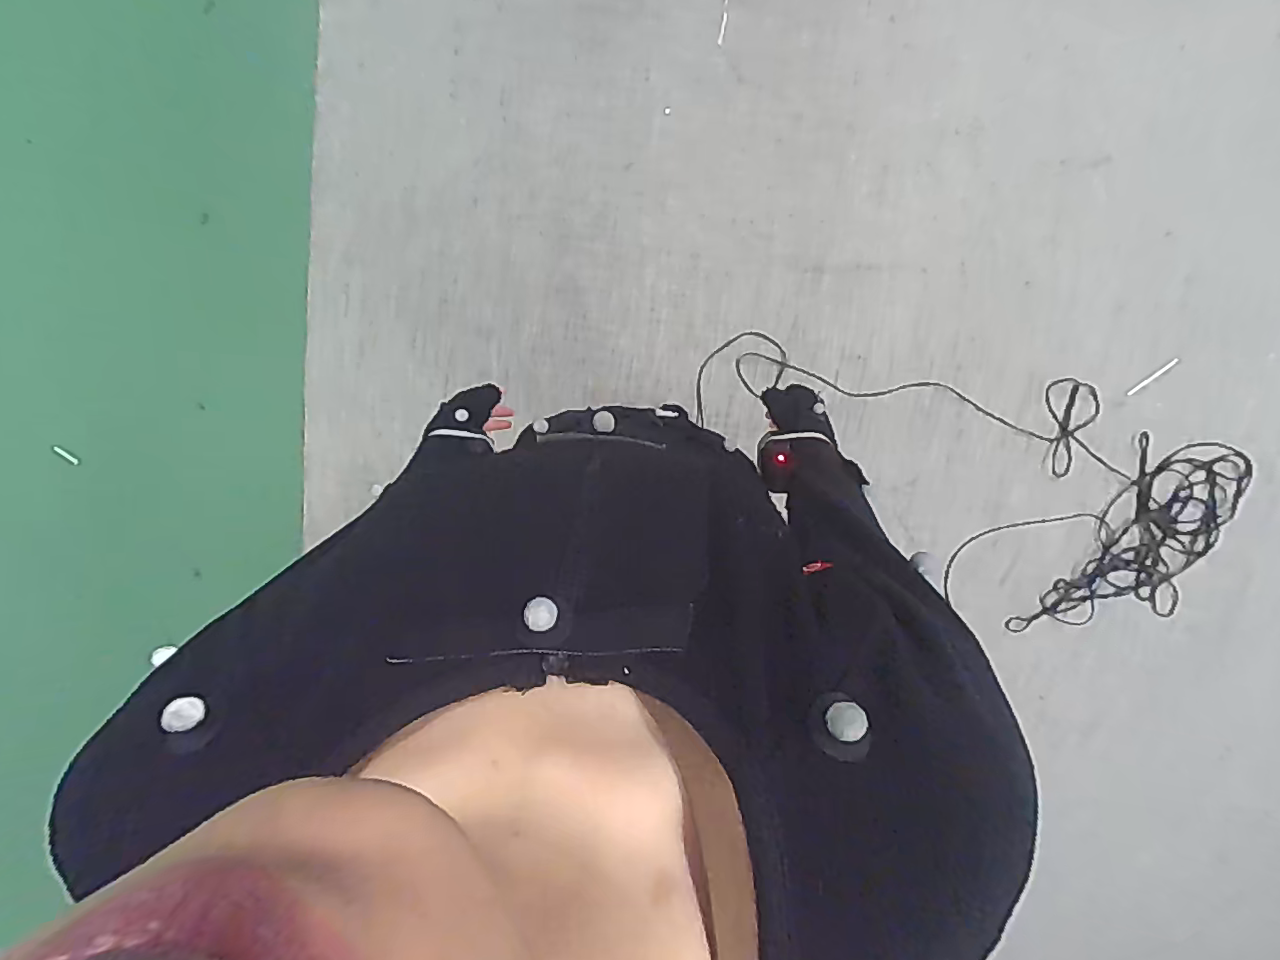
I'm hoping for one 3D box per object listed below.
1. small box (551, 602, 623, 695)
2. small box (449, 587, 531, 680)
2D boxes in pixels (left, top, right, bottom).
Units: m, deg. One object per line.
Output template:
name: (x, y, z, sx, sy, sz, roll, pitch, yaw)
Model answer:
small box: (-0.139, 0.453, 1.472, 0.168, 0.176, 0.179, 7, 98, 1)
small box: (-0.405, 0.416, 1.483, 0.168, 0.176, 0.179, 9, 99, 2)
